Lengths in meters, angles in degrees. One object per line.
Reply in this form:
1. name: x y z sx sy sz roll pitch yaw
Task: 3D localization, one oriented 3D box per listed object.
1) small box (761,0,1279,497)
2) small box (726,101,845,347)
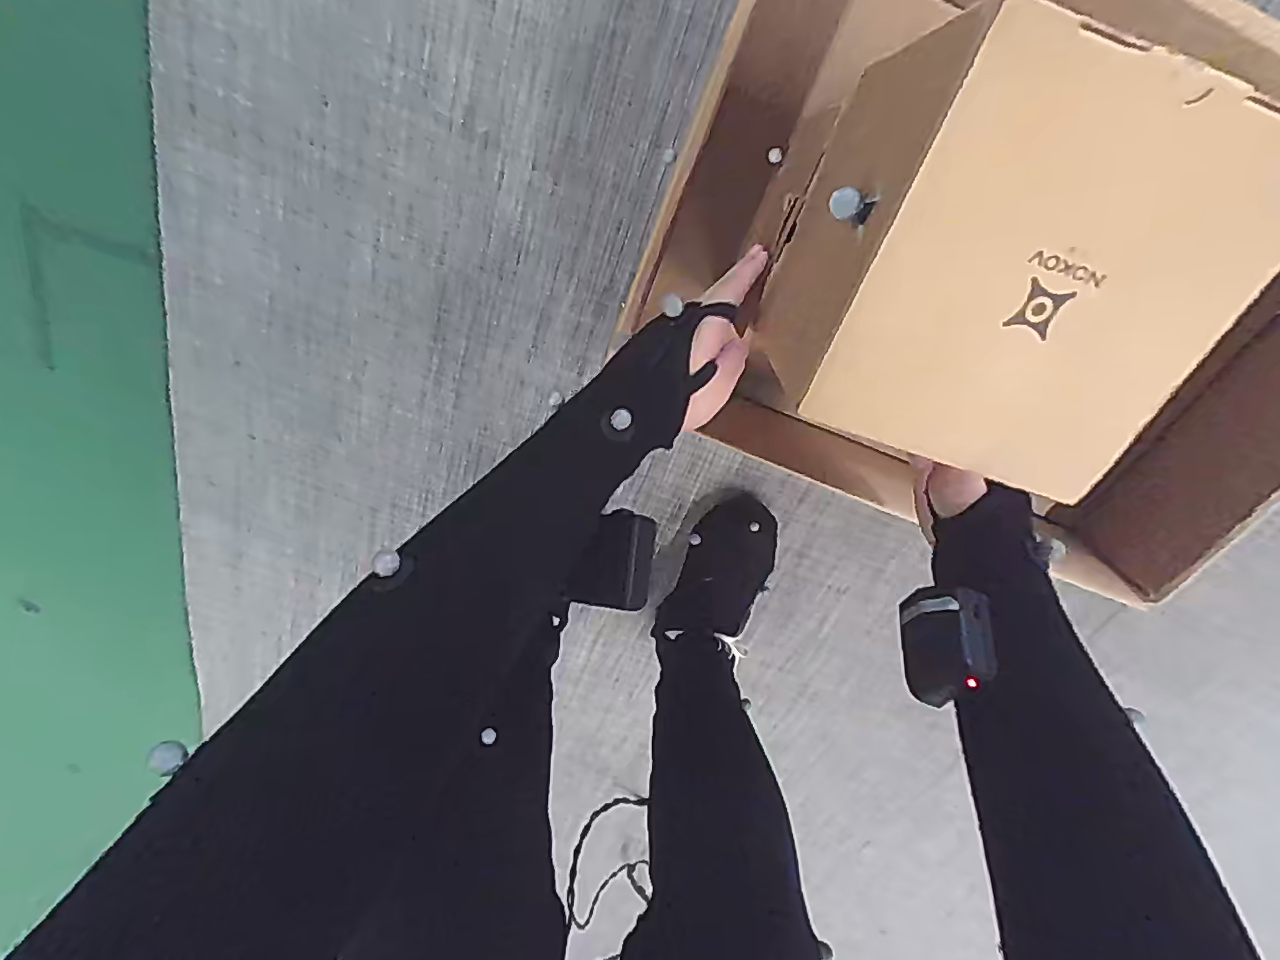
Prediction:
1. small box: 0.181 -0.123 0.316 0.168 0.176 0.179 17 118 -5
2. small box: 0.186 -0.188 0.464 0.179 0.176 0.168 19 119 -7
